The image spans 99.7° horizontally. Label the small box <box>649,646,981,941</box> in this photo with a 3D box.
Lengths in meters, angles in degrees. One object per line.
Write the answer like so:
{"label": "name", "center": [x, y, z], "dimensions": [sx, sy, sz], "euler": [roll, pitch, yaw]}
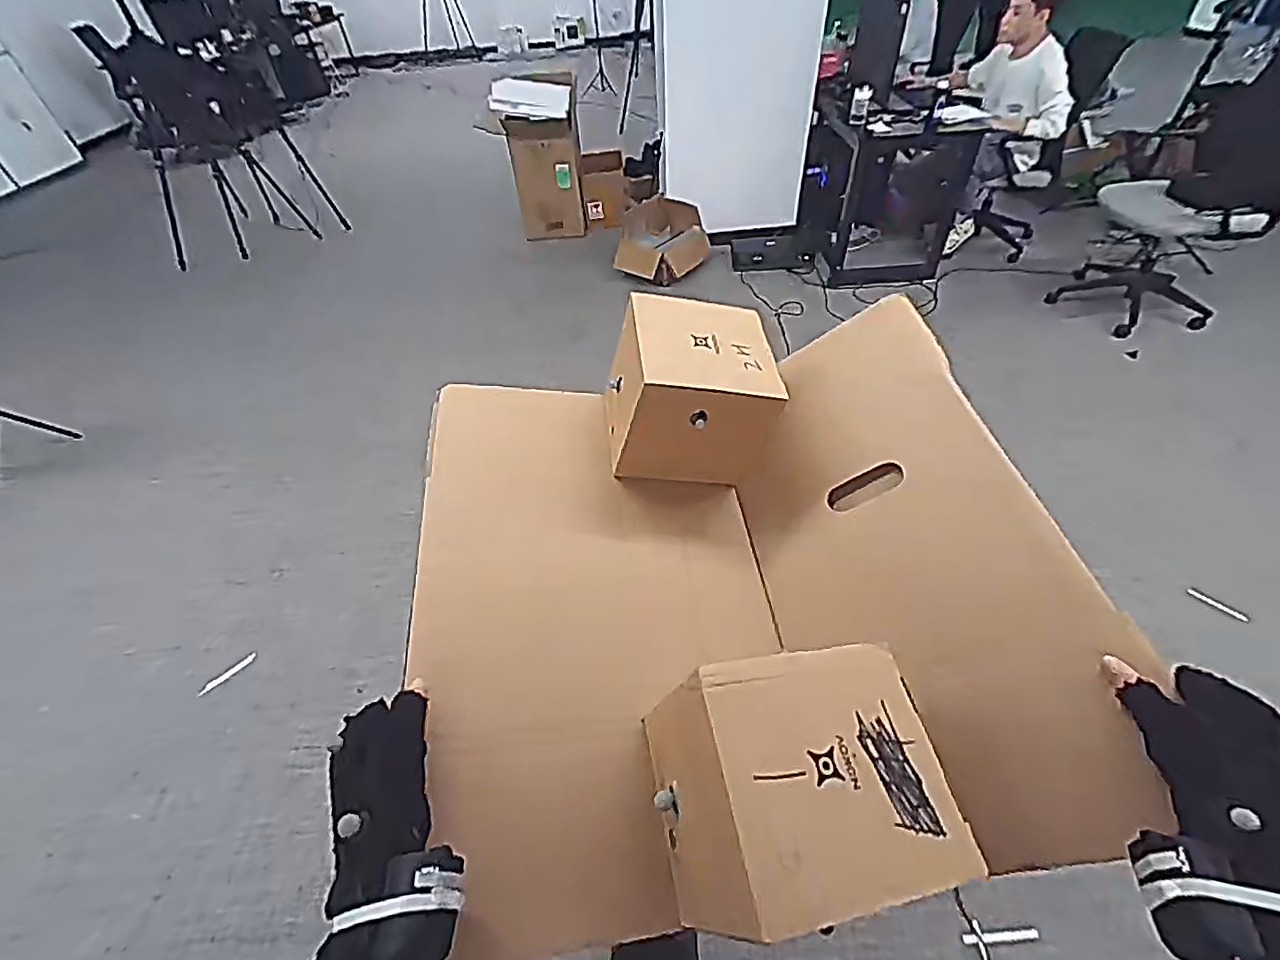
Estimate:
{"label": "small box", "center": [0.121, 0.253, 0.452], "dimensions": [0.179, 0.176, 0.168], "euler": [-2, 55, -17]}

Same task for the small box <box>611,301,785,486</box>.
{"label": "small box", "center": [0.060, -0.106, 0.710], "dimensions": [0.179, 0.176, 0.168], "euler": [5, 52, -14]}
